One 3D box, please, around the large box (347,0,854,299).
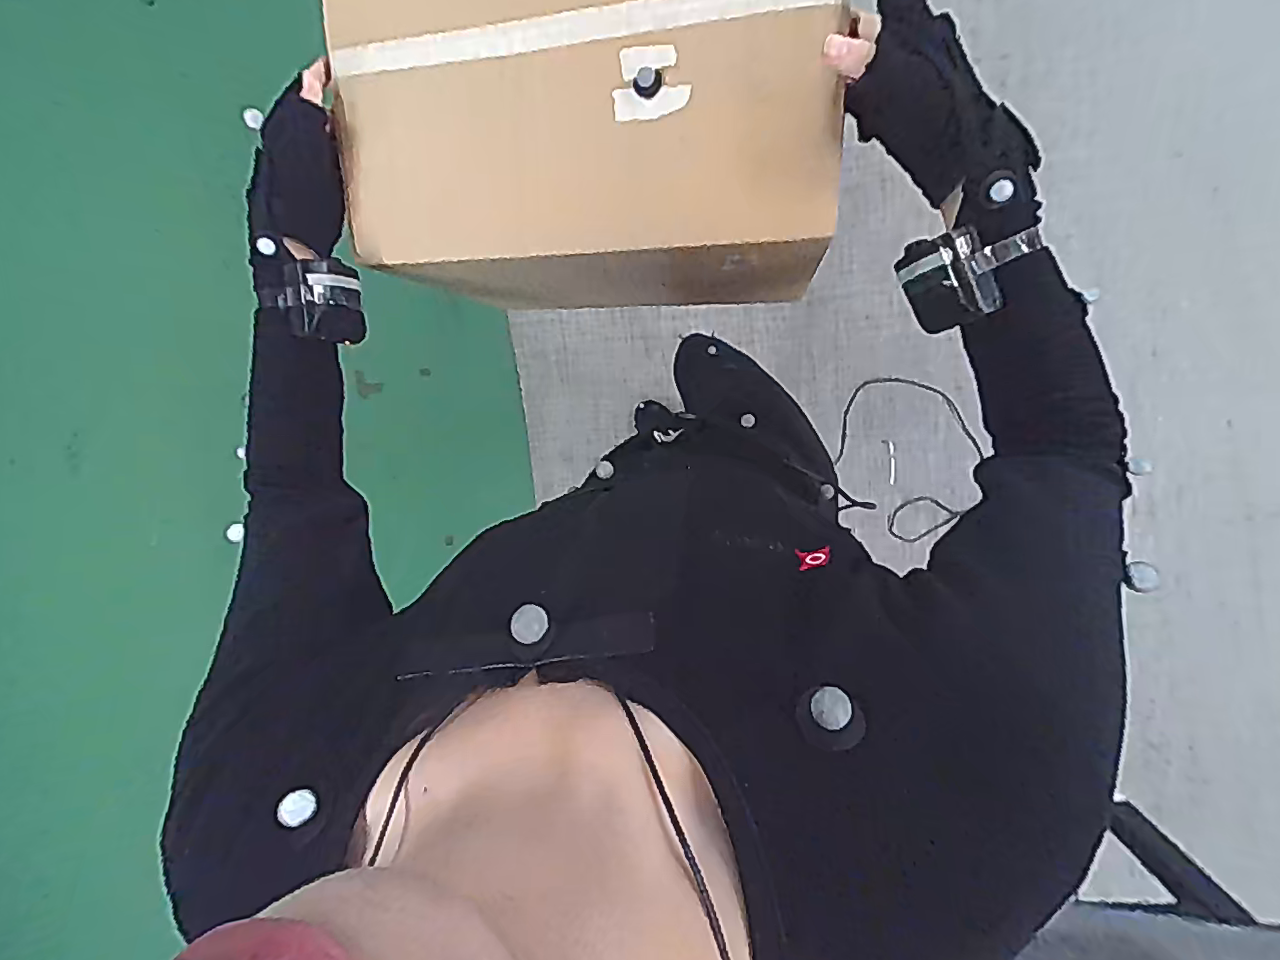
[{"bbox_3d":[-0.020,-0.375,0.556,0.408,0.320,0.320,2,101,10],"label":"large box"}]
